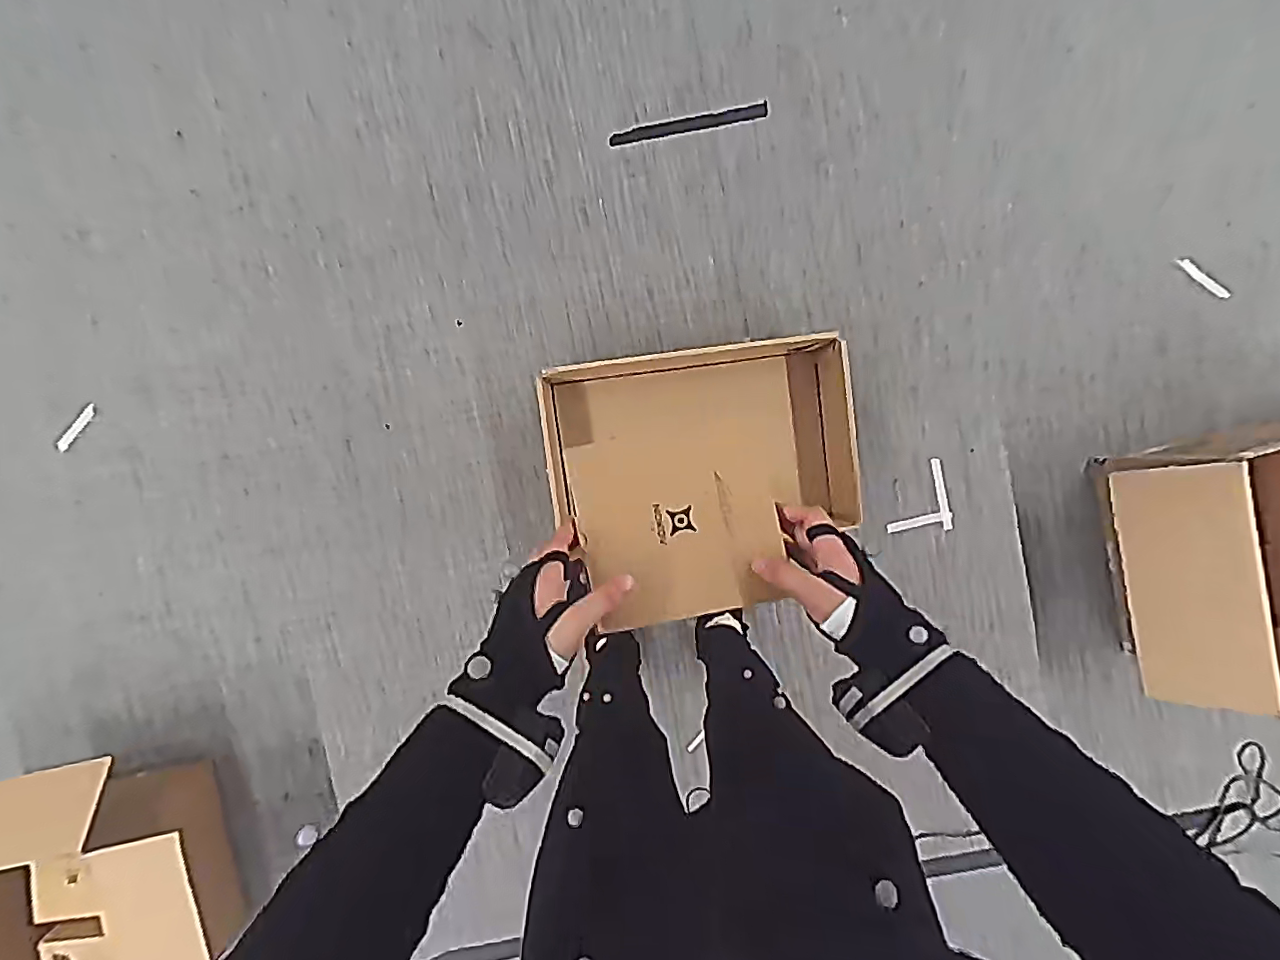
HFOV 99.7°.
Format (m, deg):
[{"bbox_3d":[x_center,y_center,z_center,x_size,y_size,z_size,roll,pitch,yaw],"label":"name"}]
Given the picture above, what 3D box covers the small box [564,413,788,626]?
[{"bbox_3d":[0.032,0.041,0.557,0.179,0.176,0.168,-11,86,-1],"label":"small box"}]
